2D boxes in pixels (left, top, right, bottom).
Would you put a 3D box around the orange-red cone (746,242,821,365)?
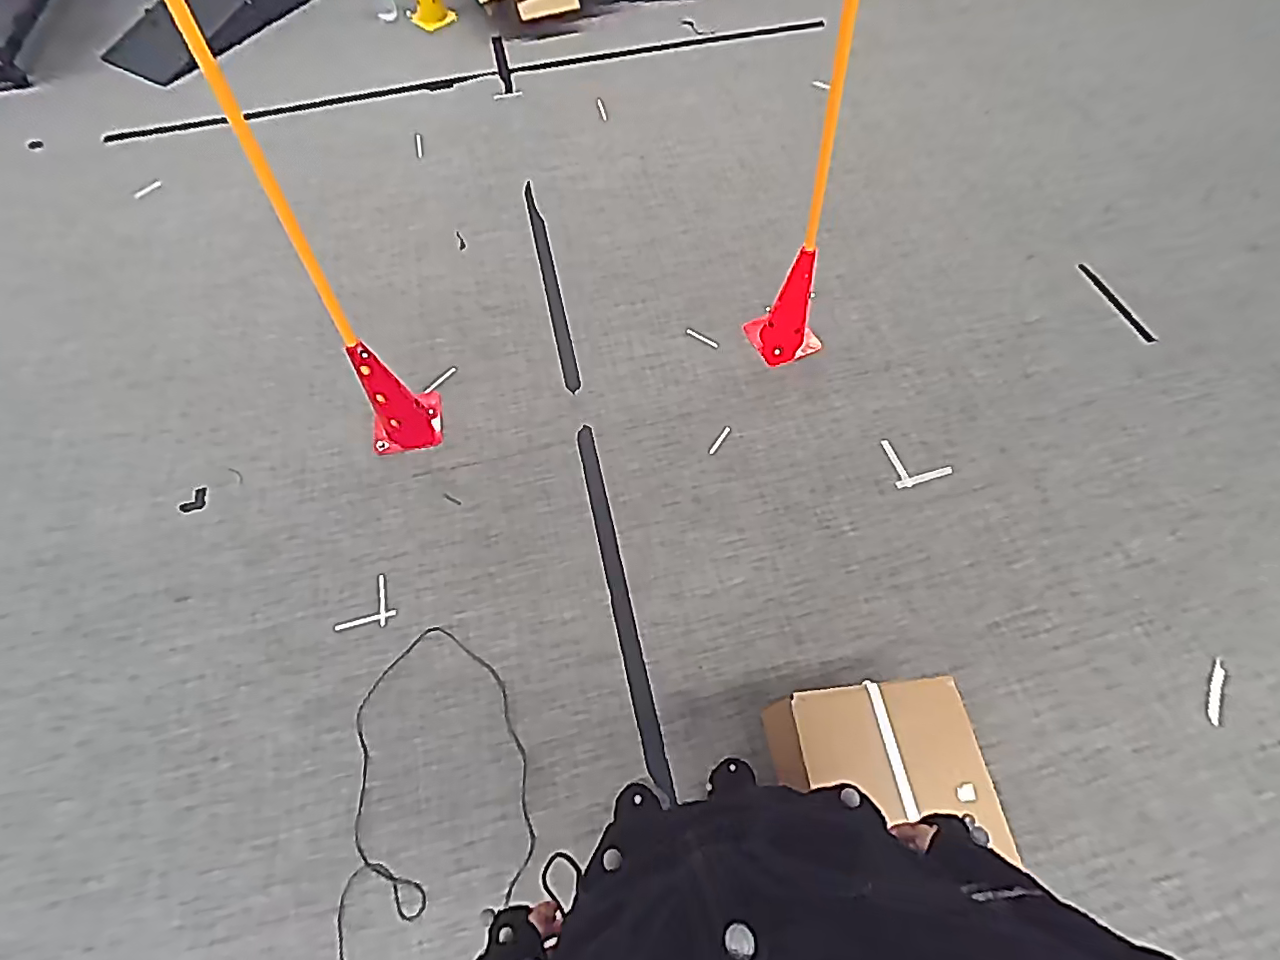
[{"bbox_3d":[0.464,-0.546,1.602,0.199,0.360,0.198,-20,65,-10],"label":"orange-red cone"}]
